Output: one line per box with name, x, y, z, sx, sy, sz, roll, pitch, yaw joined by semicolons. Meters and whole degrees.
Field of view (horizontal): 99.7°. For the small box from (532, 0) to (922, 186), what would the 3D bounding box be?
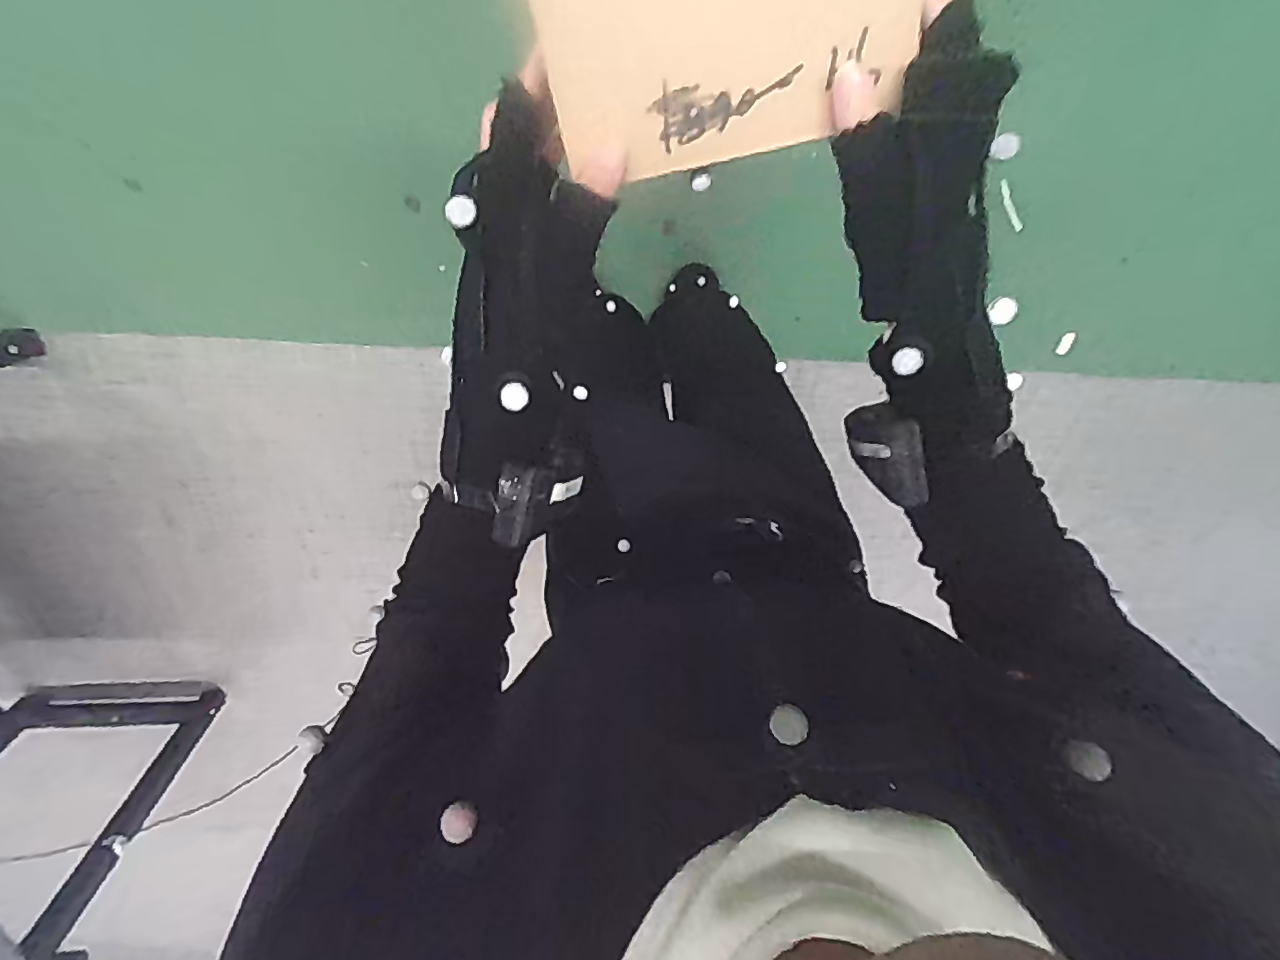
small box;0.030;-0.271;0.277;0.168;0.176;0.179;-9;125;6
